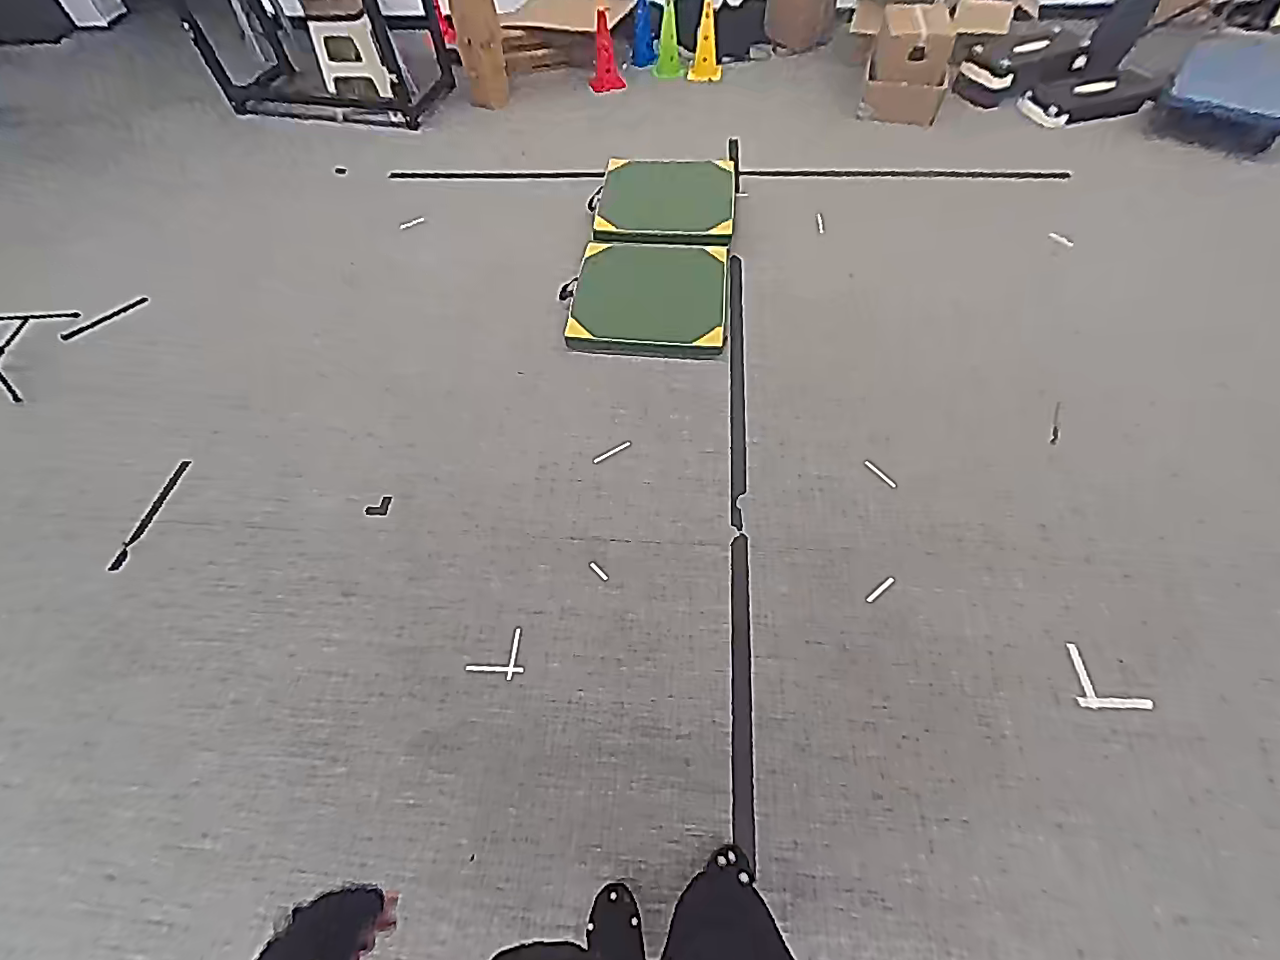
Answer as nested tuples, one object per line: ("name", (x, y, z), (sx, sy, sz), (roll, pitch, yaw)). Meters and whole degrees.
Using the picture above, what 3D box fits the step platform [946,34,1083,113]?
("step platform", (2.098, -2.281, 3.028), (0.684, 0.204, 0.286), (-22, 59, -11))
